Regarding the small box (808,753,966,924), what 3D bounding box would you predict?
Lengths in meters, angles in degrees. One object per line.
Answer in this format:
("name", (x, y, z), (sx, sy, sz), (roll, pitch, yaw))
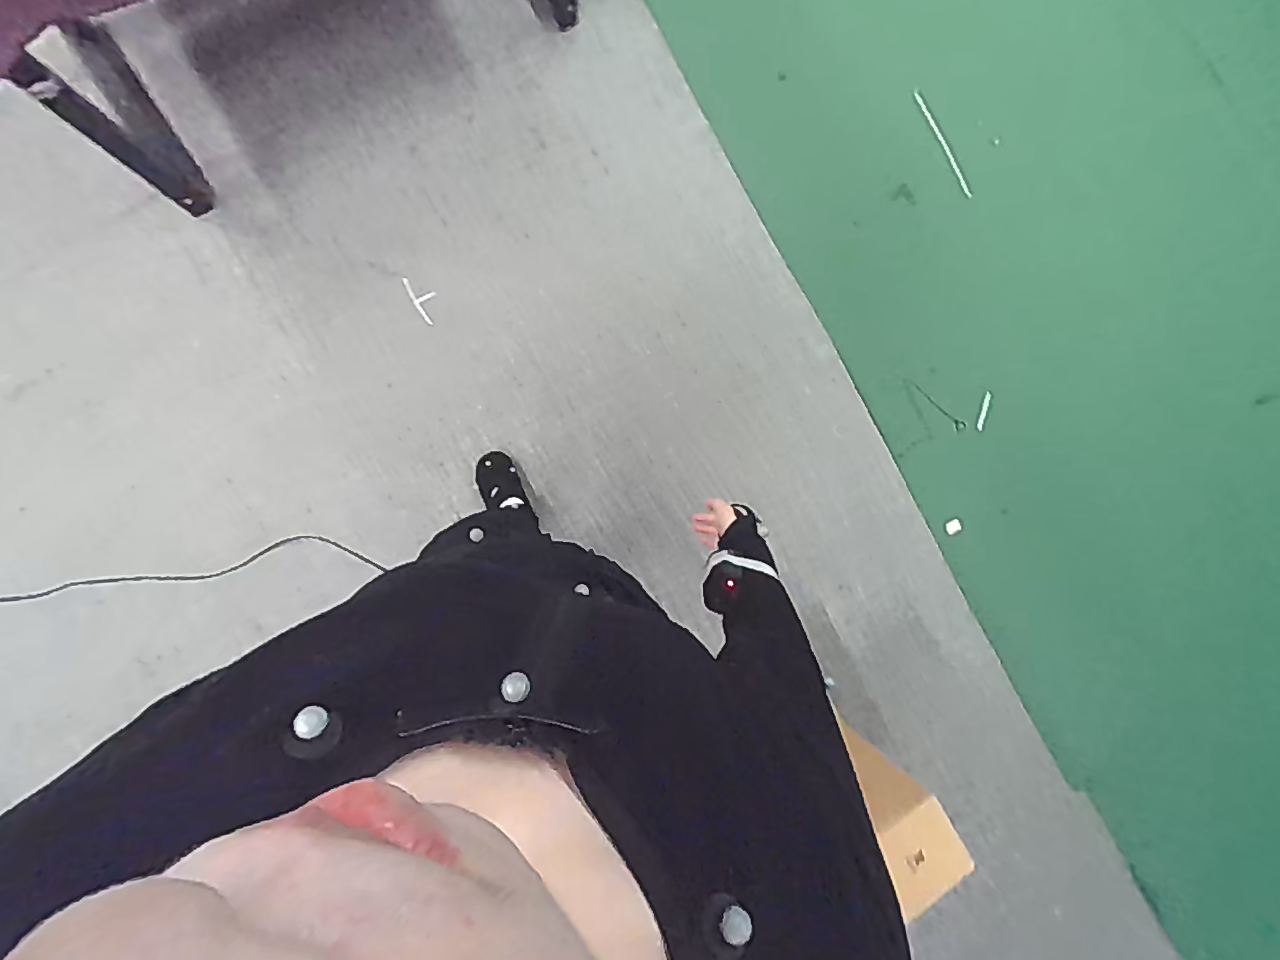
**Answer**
("small box", (0.456, 0.661, 1.022), (0.179, 0.176, 0.168), (-31, 95, -7))
